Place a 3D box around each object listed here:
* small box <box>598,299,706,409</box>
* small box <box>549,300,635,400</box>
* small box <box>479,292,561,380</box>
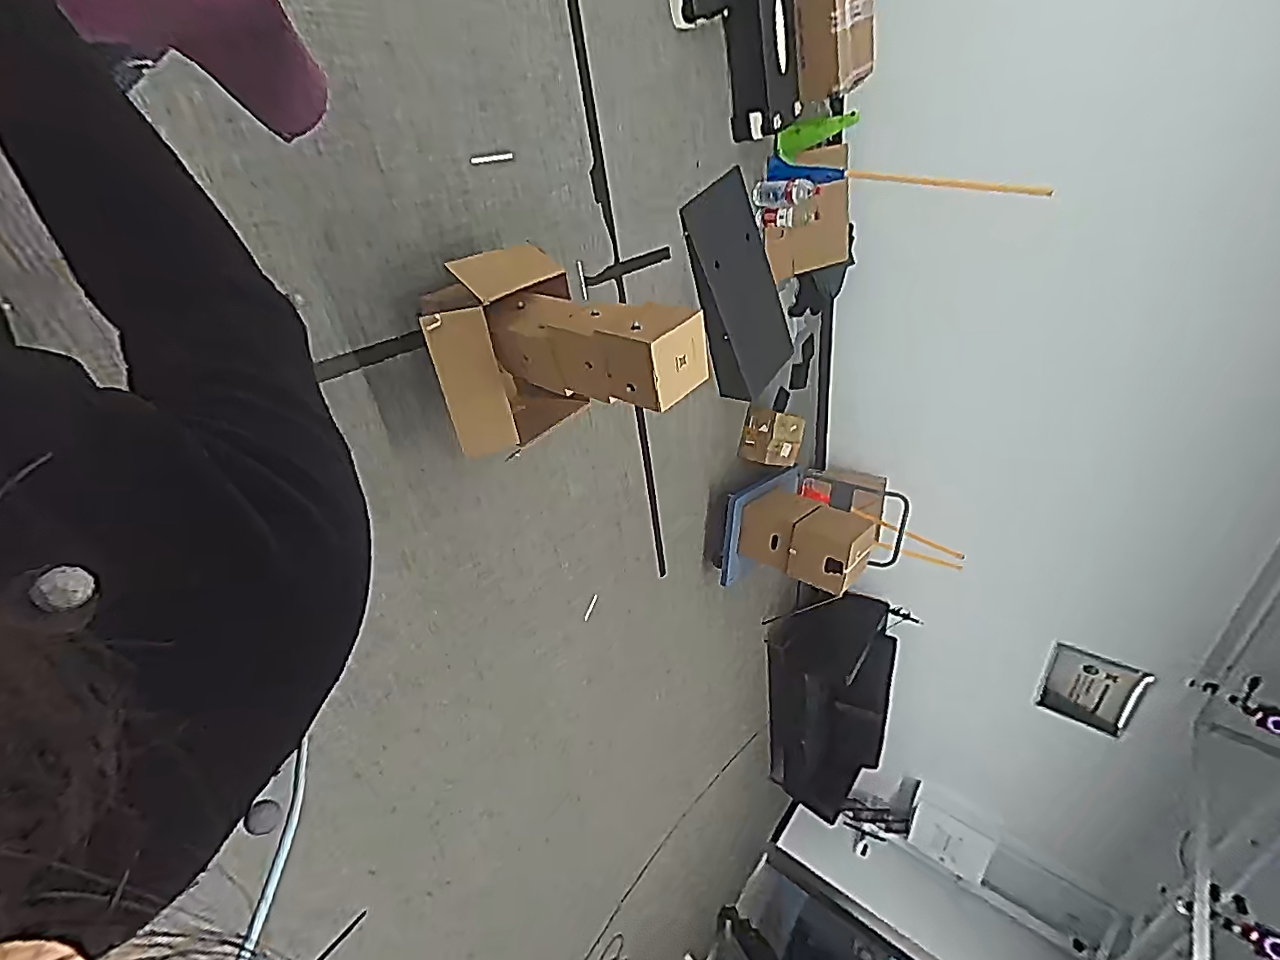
[{"bbox_3d":[0.023,-0.283,1.193,0.179,0.176,0.168,-40,137,-31],"label":"small box"},{"bbox_3d":[-0.094,-0.321,1.301,0.168,0.176,0.179,-40,136,-30],"label":"small box"},{"bbox_3d":[-0.319,-0.412,1.525,0.168,0.176,0.179,-52,142,-20],"label":"small box"}]
